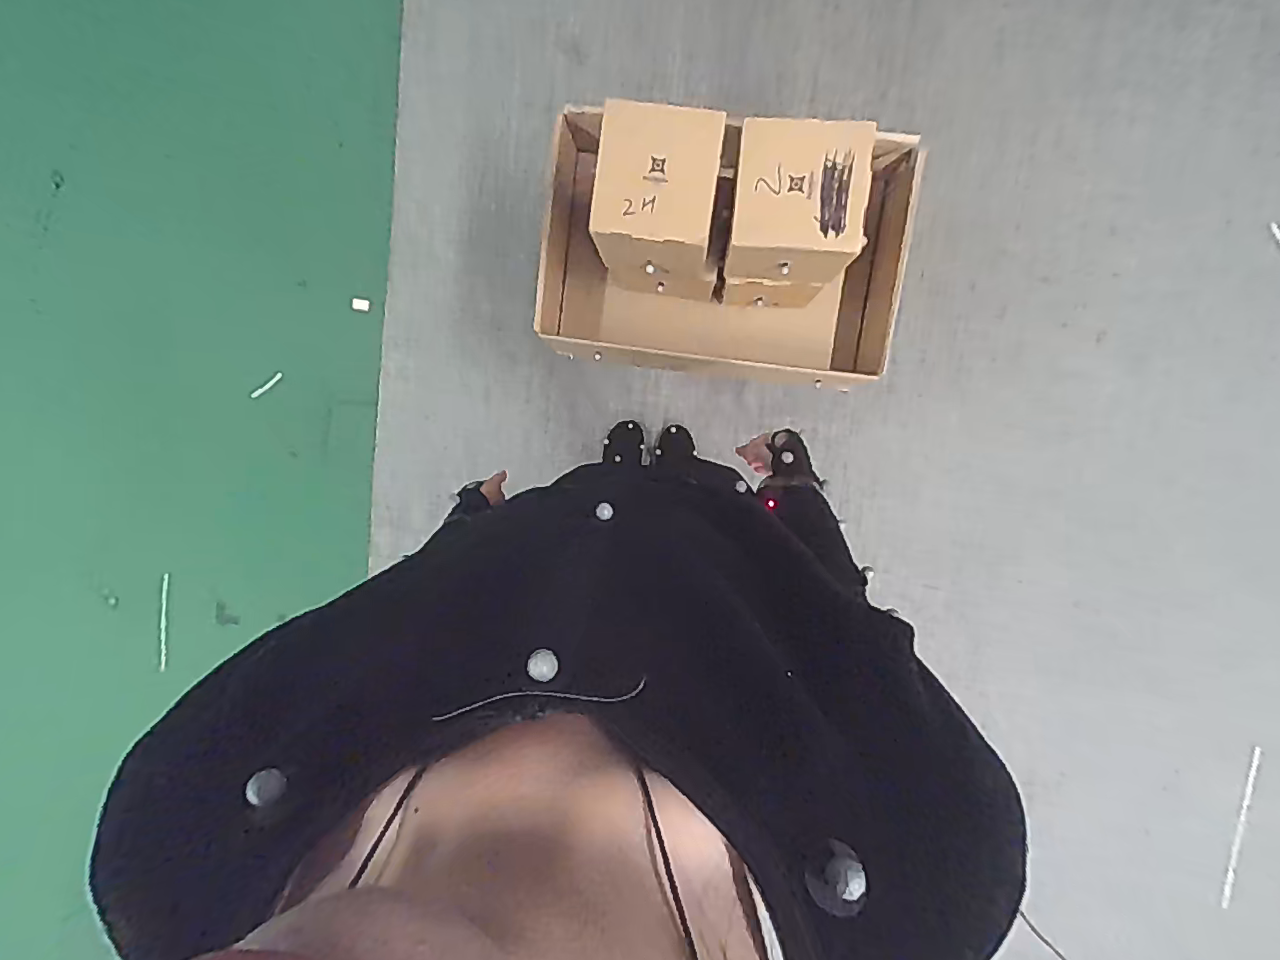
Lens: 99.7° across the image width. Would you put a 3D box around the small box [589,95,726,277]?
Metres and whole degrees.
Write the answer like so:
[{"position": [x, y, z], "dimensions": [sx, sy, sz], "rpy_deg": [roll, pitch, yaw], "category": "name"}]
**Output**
[{"position": [0.027, -0.424, 0.804], "dimensions": [0.168, 0.176, 0.179], "rpy_deg": [9, 96, 3], "category": "small box"}]
